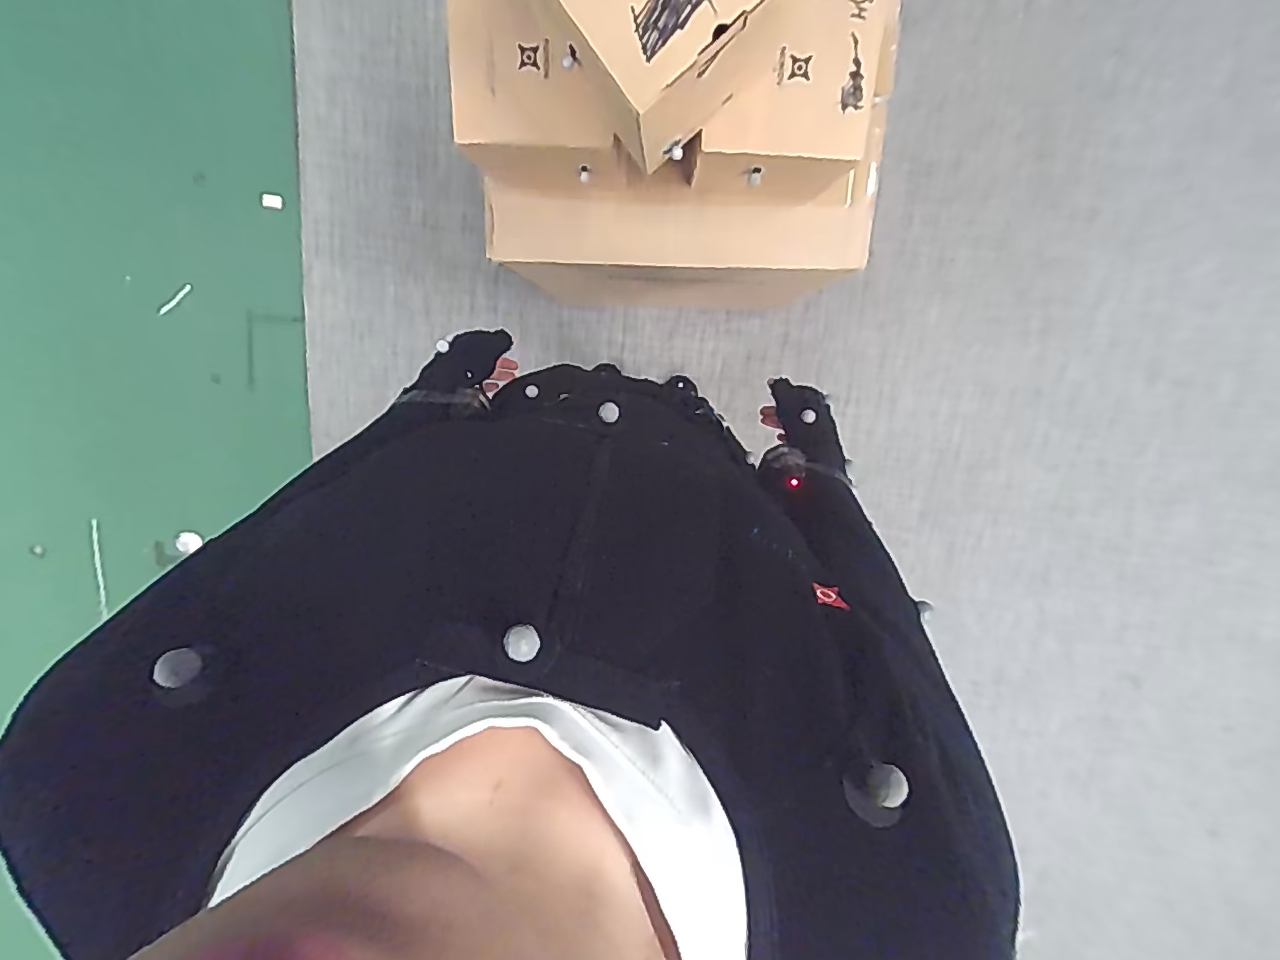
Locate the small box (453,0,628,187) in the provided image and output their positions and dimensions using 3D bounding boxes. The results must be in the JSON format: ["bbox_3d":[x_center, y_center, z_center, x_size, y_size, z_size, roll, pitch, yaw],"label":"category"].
[{"bbox_3d":[-0.102,-0.459,0.637,0.179,0.176,0.168,2,104,3],"label":"small box"}]

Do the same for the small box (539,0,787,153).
[{"bbox_3d":[0.017,-0.423,0.471,0.168,0.176,0.179,-37,99,11],"label":"small box"}]

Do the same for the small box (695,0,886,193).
[{"bbox_3d":[0.158,-0.446,0.630,0.179,0.176,0.168,4,106,2],"label":"small box"}]
